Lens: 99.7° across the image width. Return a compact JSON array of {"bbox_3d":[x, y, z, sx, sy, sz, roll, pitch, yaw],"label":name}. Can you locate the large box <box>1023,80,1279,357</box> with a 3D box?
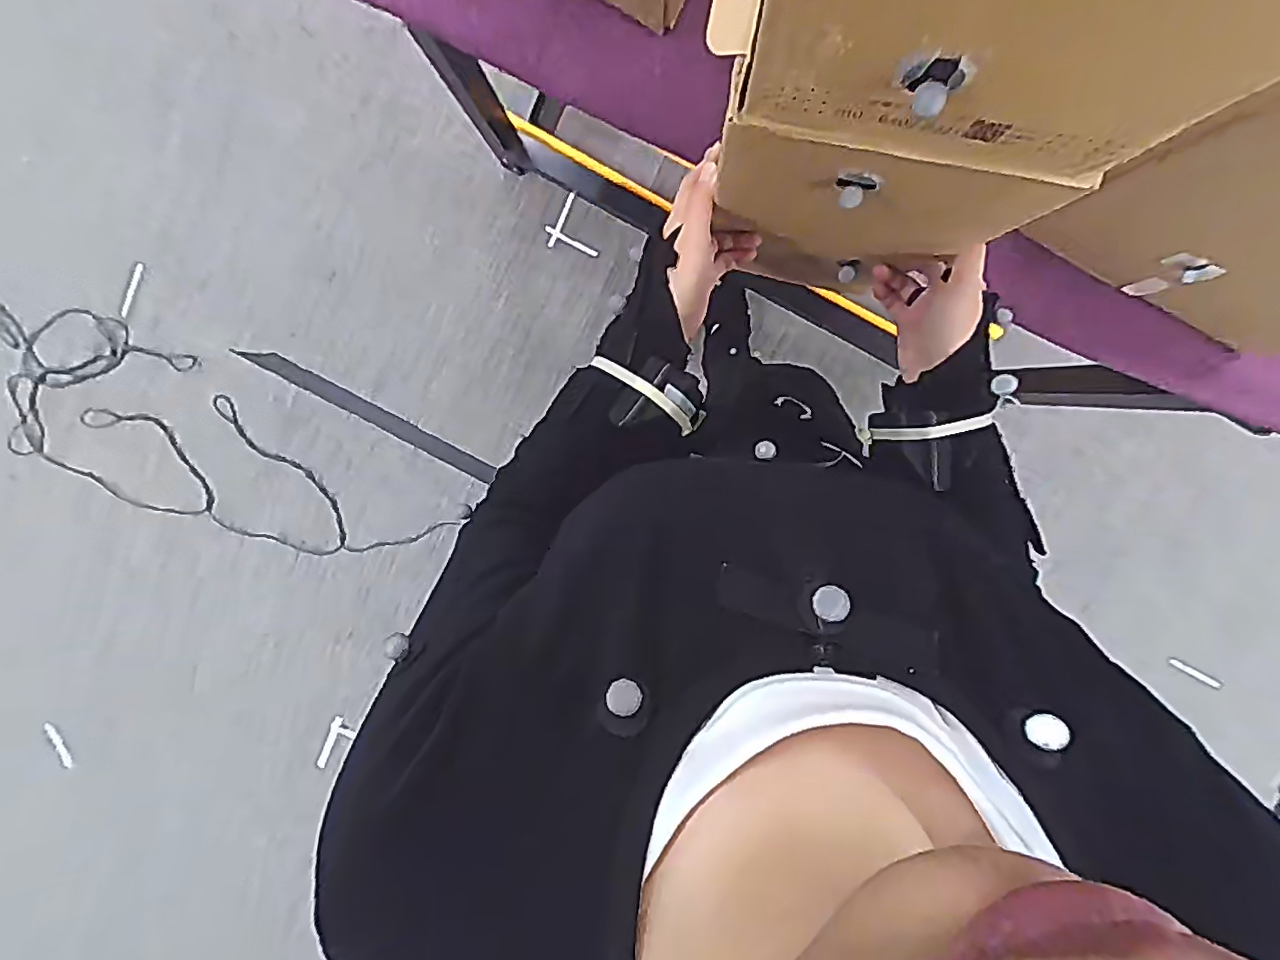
[{"bbox_3d":[0.610,-0.347,0.400,0.320,0.320,0.408,27,98,-4],"label":"large box"}]

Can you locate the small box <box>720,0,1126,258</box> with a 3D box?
[{"bbox_3d":[0.148,-0.240,0.308,0.179,0.176,0.168,12,101,2],"label":"small box"}]

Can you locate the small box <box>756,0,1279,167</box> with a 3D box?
[{"bbox_3d":[0.136,-0.220,0.147,0.168,0.176,0.179,11,102,3],"label":"small box"}]
